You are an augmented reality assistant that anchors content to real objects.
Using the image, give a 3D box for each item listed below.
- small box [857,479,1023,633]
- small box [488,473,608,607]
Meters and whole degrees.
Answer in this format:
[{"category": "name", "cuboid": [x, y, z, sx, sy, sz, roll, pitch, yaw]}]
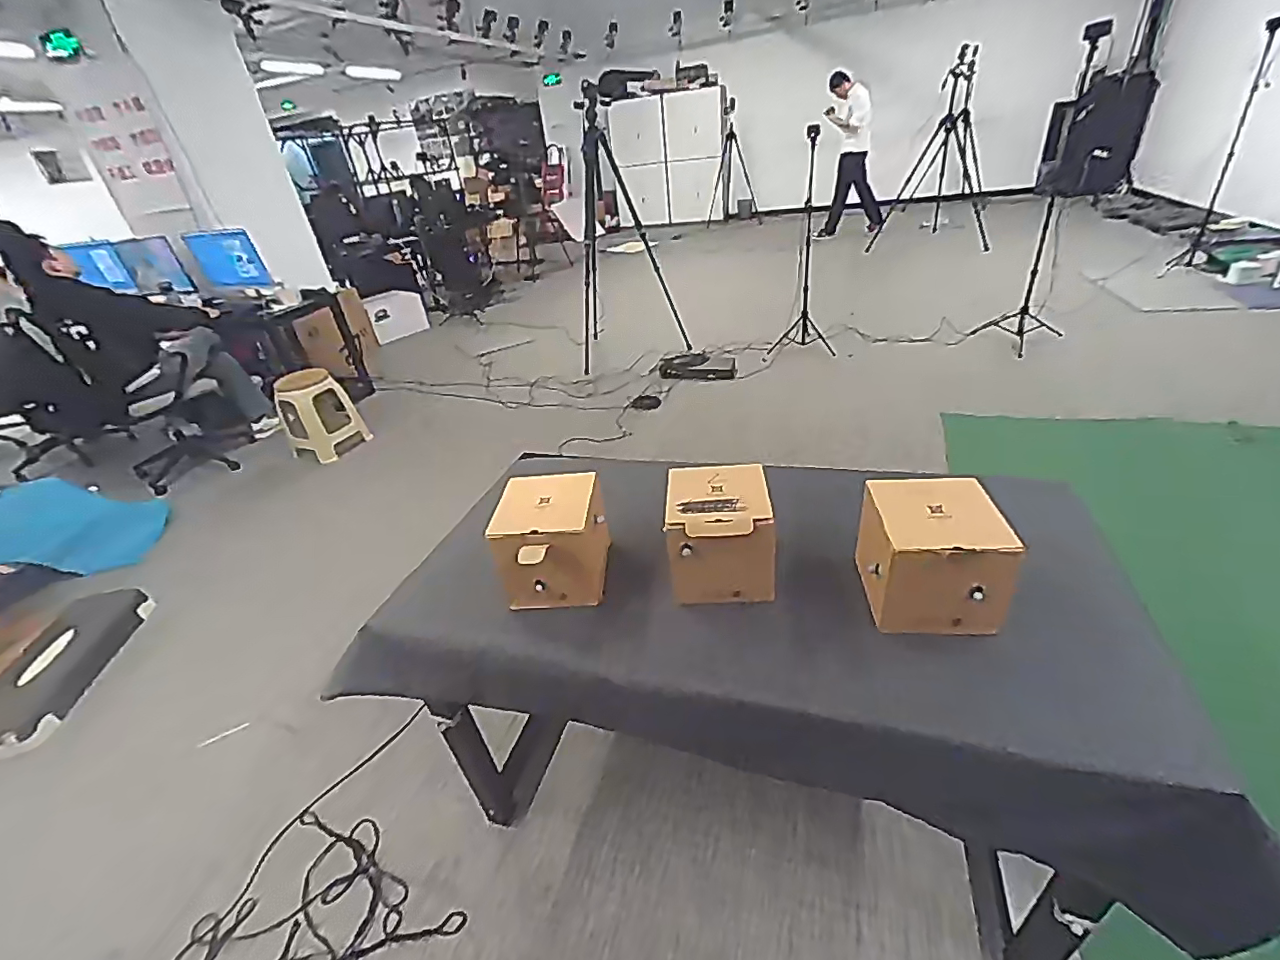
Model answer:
[{"category": "small box", "cuboid": [0.440, 0.116, 0.827, 0.168, 0.176, 0.179, -1, 32, 9]}, {"category": "small box", "cuboid": [-0.152, 0.106, 0.969, 0.168, 0.176, 0.179, -4, 33, 5]}]
